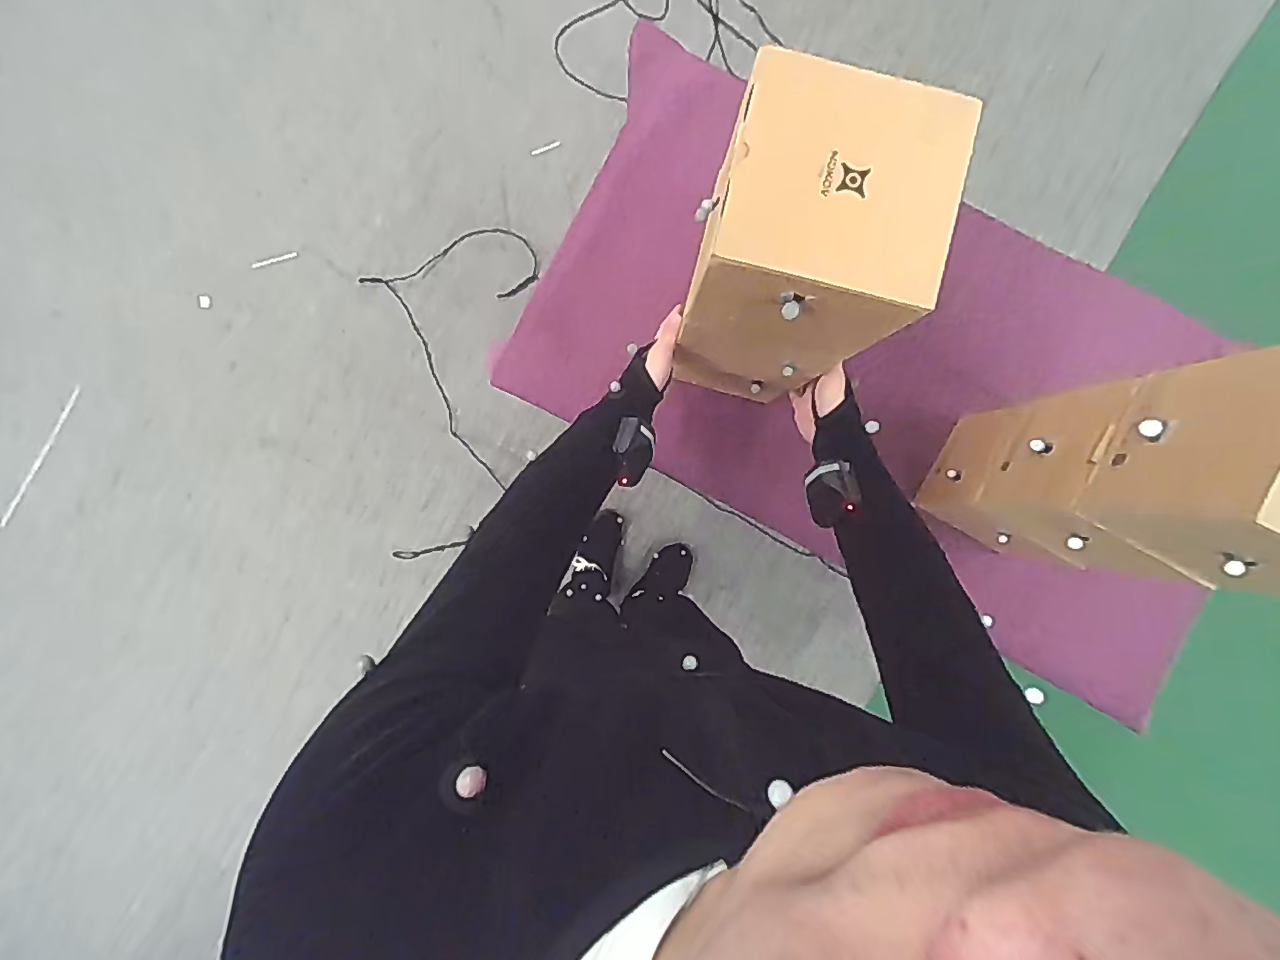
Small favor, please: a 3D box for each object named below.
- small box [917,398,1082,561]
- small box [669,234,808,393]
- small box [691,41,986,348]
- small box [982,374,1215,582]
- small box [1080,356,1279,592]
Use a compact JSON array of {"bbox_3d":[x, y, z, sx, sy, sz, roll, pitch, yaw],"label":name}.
[{"bbox_3d":[0.562,0.001,0.813,0.179,0.176,0.168,31,90,0],"label":"small box"},{"bbox_3d":[0.149,-0.235,0.808,0.179,0.176,0.168,15,89,0],"label":"small box"},{"bbox_3d":[0.154,-0.226,0.481,0.179,0.176,0.168,13,91,-1],"label":"small box"},{"bbox_3d":[0.564,-0.001,0.650,0.179,0.176,0.168,29,90,1],"label":"small box"},{"bbox_3d":[0.567,-0.002,0.485,0.179,0.176,0.168,28,90,1],"label":"small box"}]
